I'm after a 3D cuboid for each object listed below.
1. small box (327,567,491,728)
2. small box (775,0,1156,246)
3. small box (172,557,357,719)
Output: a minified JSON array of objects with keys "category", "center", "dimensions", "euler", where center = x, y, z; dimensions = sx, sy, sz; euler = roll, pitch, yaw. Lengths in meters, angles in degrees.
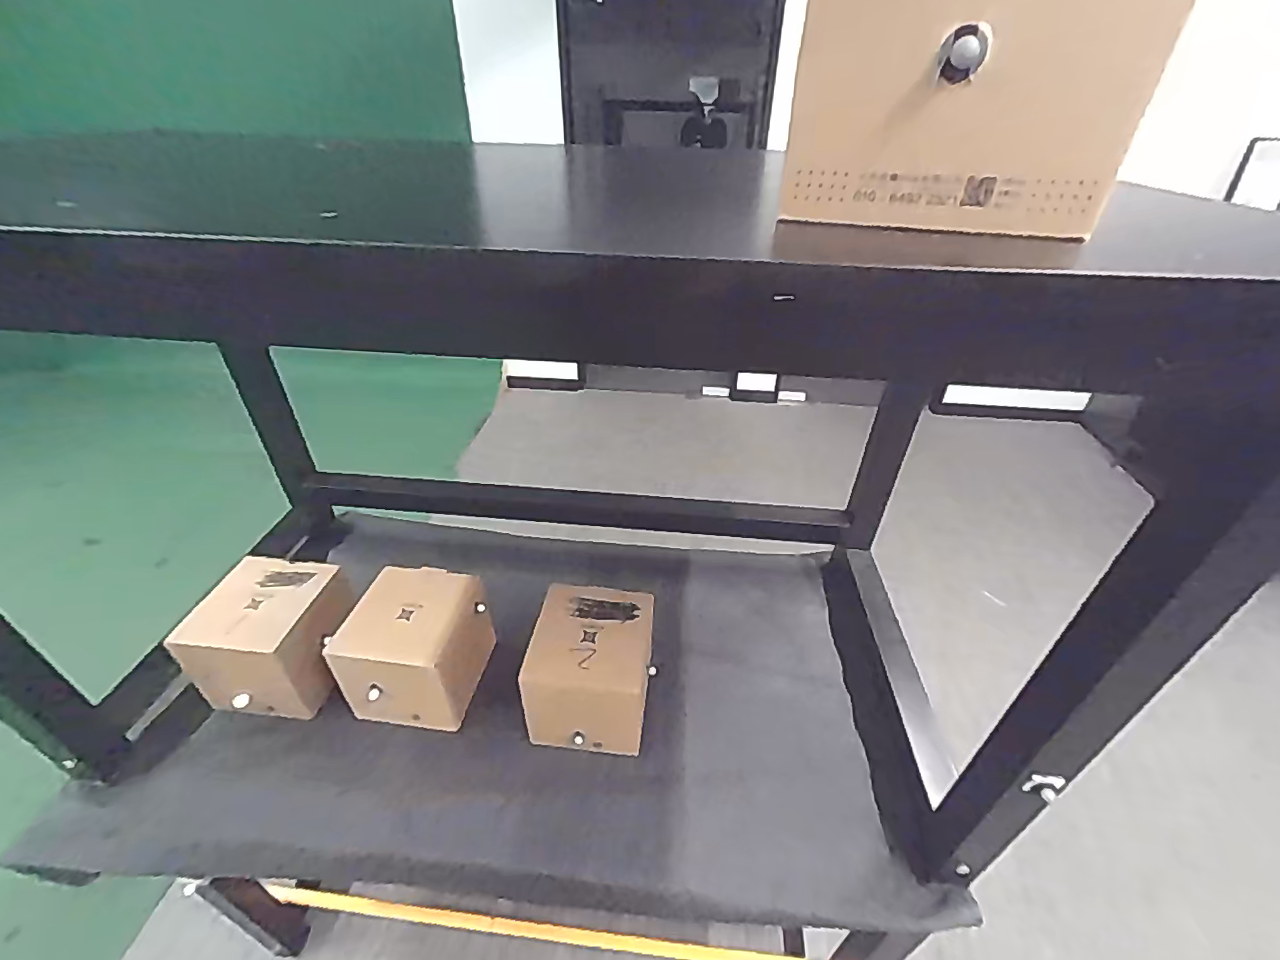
[{"category":"small box","center":[-0.348,0.265,0.859],"dimensions":[0.168,0.176,0.179],"euler":[5,35,5]},{"category":"small box","center":[0.185,-0.254,0.340],"dimensions":[0.168,0.176,0.179],"euler":[11,36,13]},{"category":"small box","center":[-0.575,0.250,0.868],"dimensions":[0.168,0.176,0.179],"euler":[4,36,4]}]
